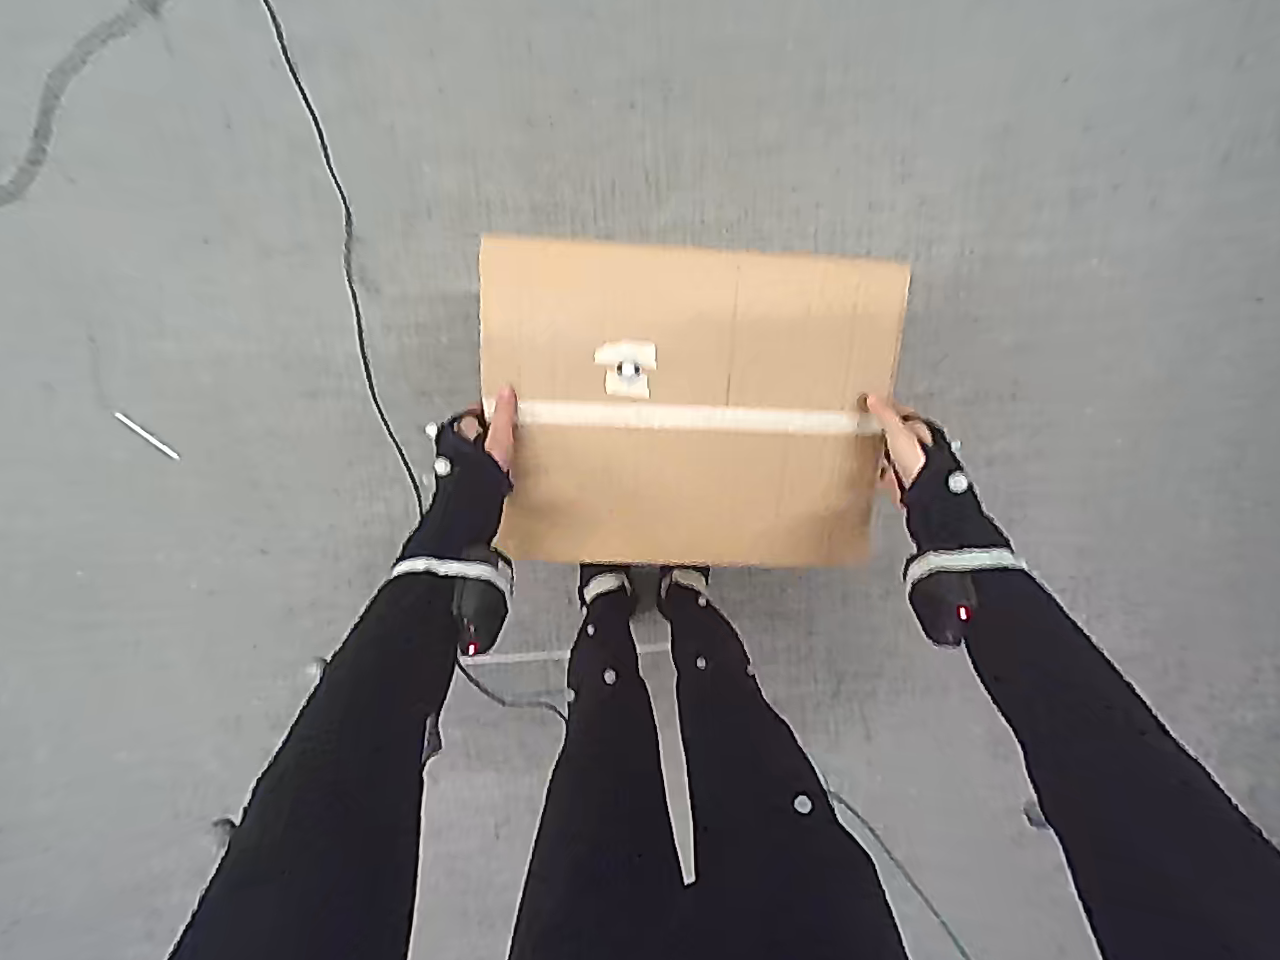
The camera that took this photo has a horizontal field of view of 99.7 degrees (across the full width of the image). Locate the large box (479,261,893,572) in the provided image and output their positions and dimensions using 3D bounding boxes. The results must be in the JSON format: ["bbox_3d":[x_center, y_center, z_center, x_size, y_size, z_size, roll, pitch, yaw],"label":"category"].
[{"bbox_3d":[0.038,-0.089,0.690,0.408,0.320,0.320,2,104,-3],"label":"large box"}]
